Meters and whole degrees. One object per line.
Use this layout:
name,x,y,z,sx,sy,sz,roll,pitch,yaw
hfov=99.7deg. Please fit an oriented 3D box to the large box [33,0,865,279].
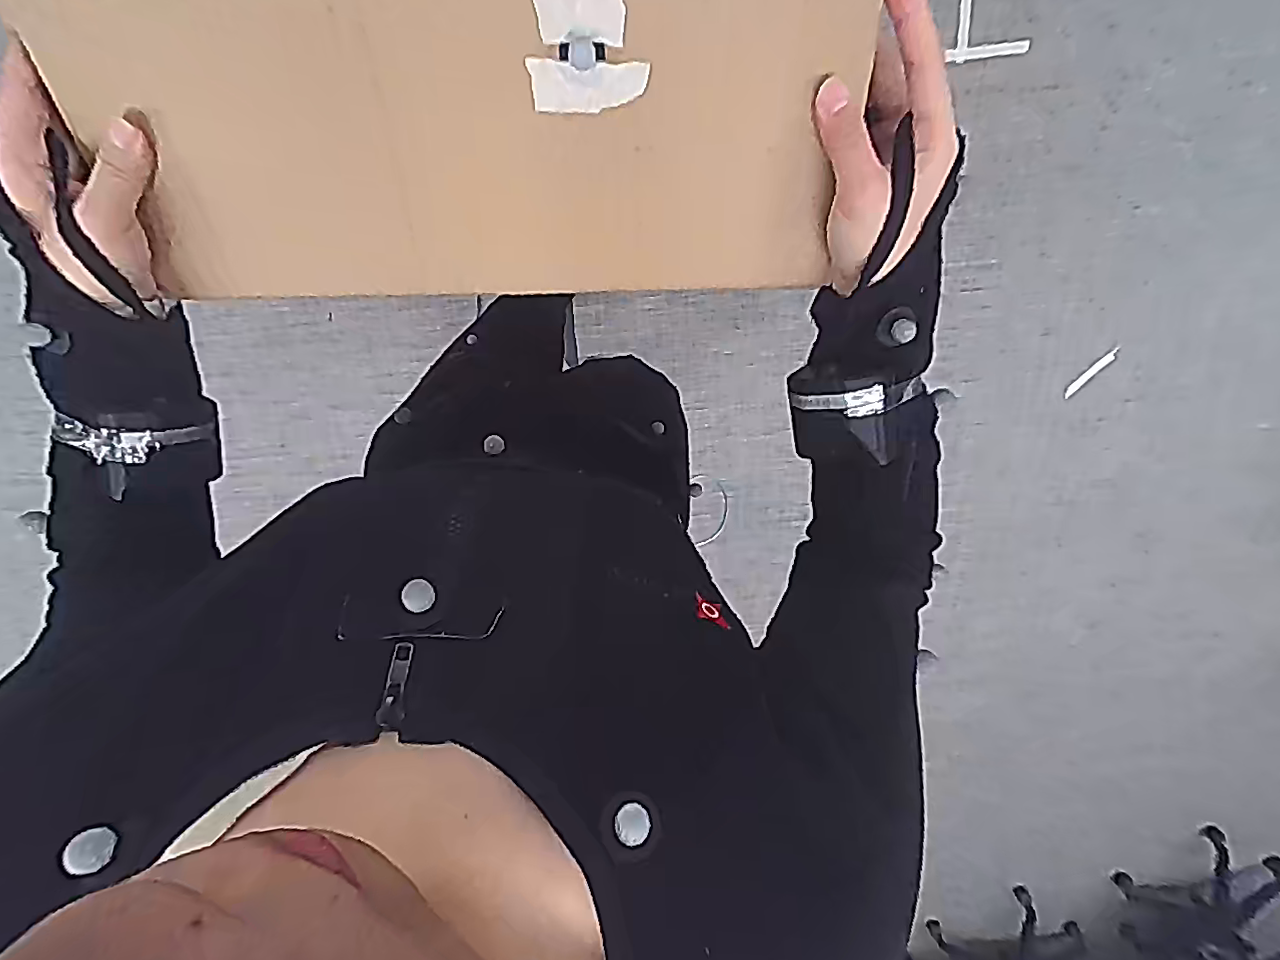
large box,-0.092,-0.339,0.364,0.408,0.320,0.320,-1,125,1
